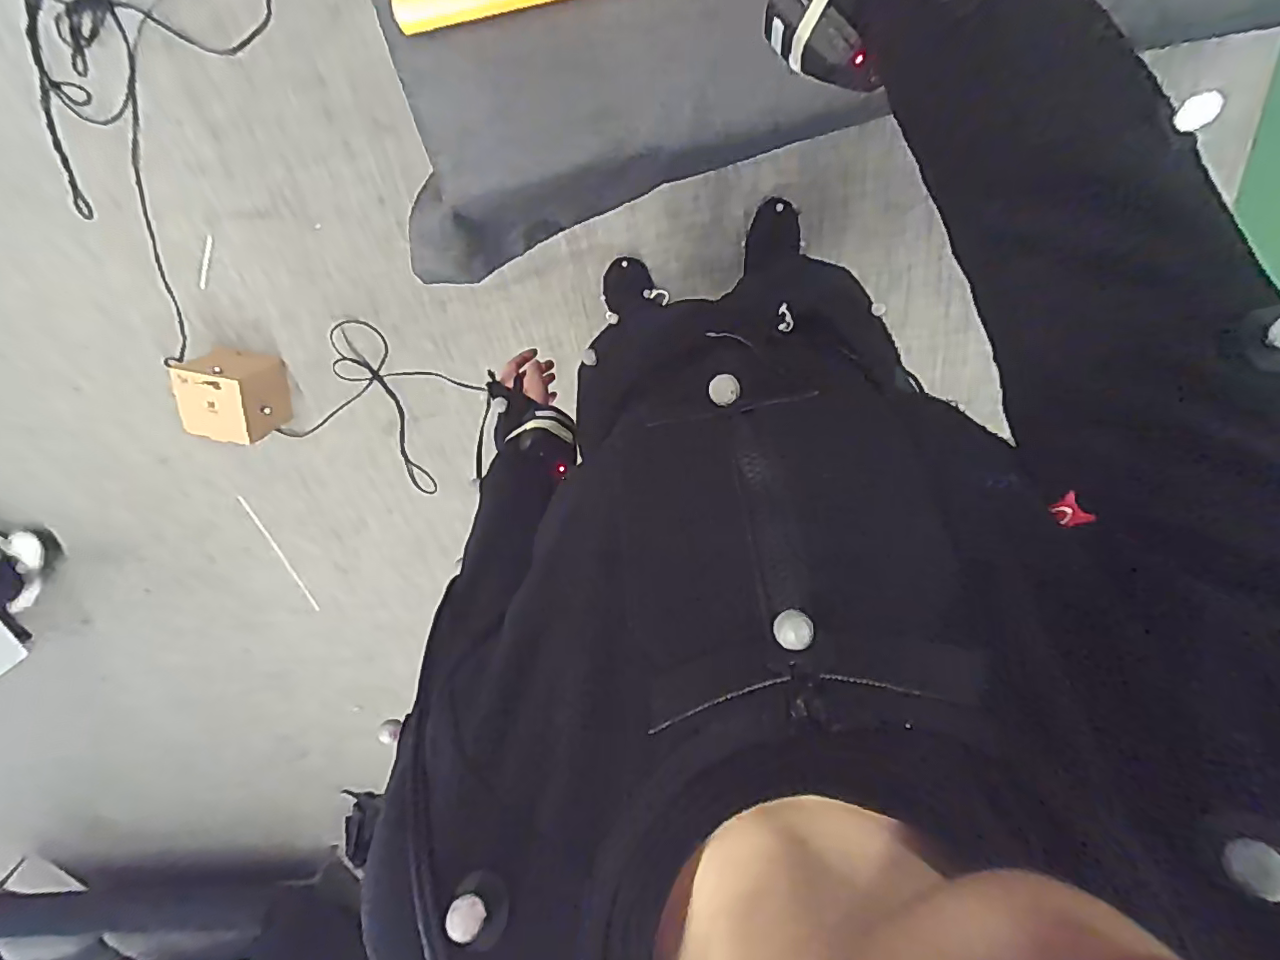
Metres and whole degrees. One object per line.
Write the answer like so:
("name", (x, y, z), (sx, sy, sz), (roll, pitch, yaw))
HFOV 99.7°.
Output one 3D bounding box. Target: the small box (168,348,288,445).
("small box", (-1.028, -0.215, 1.371), (0.168, 0.176, 0.179), (12, 120, -1))
